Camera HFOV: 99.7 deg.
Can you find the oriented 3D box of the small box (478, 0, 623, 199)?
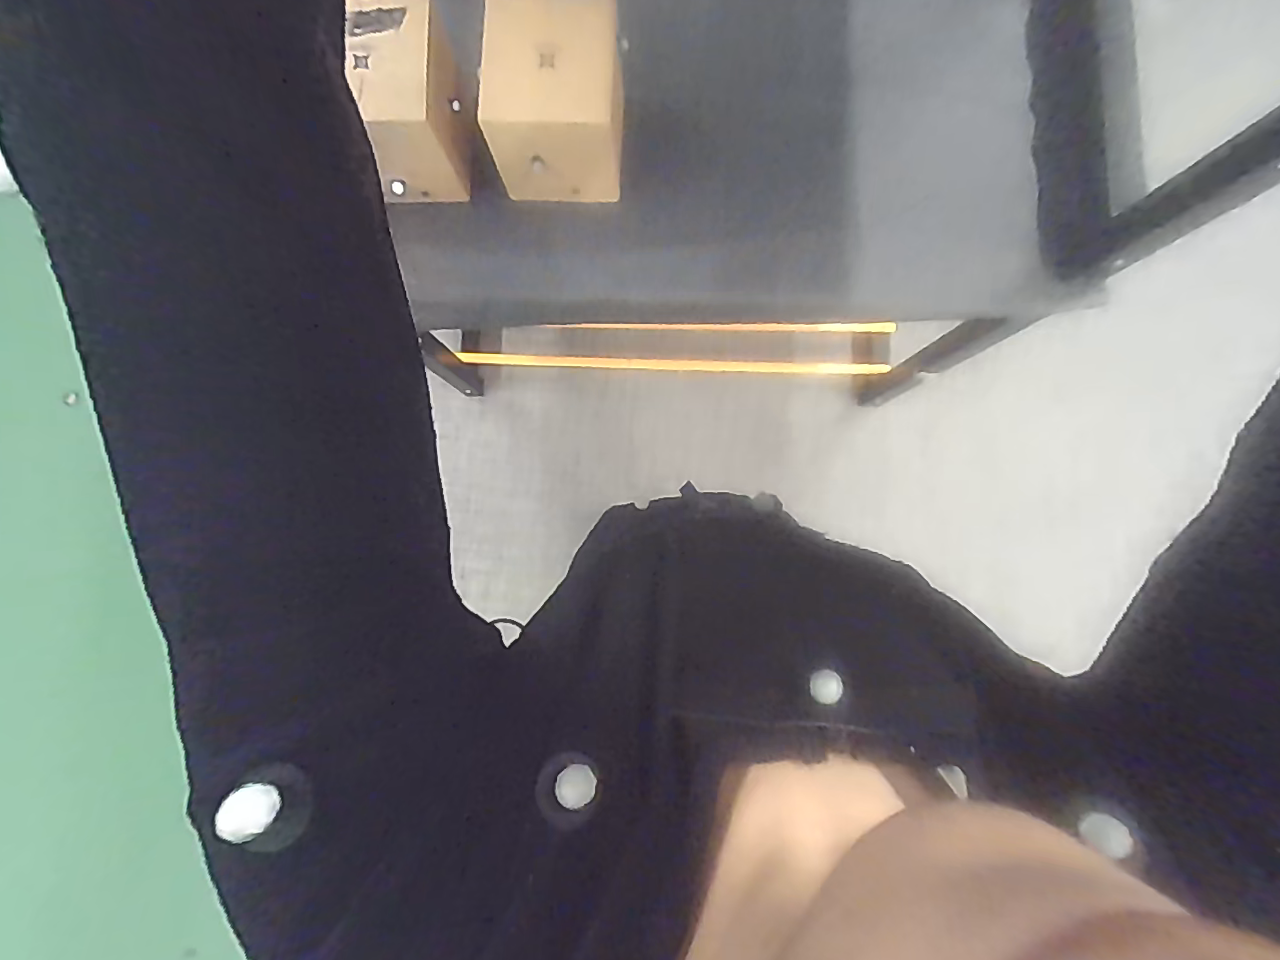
[{"bbox_3d":[-0.111,-0.514,0.743,0.168,0.176,0.179,2,84,1],"label":"small box"}]

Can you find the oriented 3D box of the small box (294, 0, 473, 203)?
[{"bbox_3d":[-0.338,-0.515,0.745,0.168,0.176,0.179,-1,85,1],"label":"small box"}]
